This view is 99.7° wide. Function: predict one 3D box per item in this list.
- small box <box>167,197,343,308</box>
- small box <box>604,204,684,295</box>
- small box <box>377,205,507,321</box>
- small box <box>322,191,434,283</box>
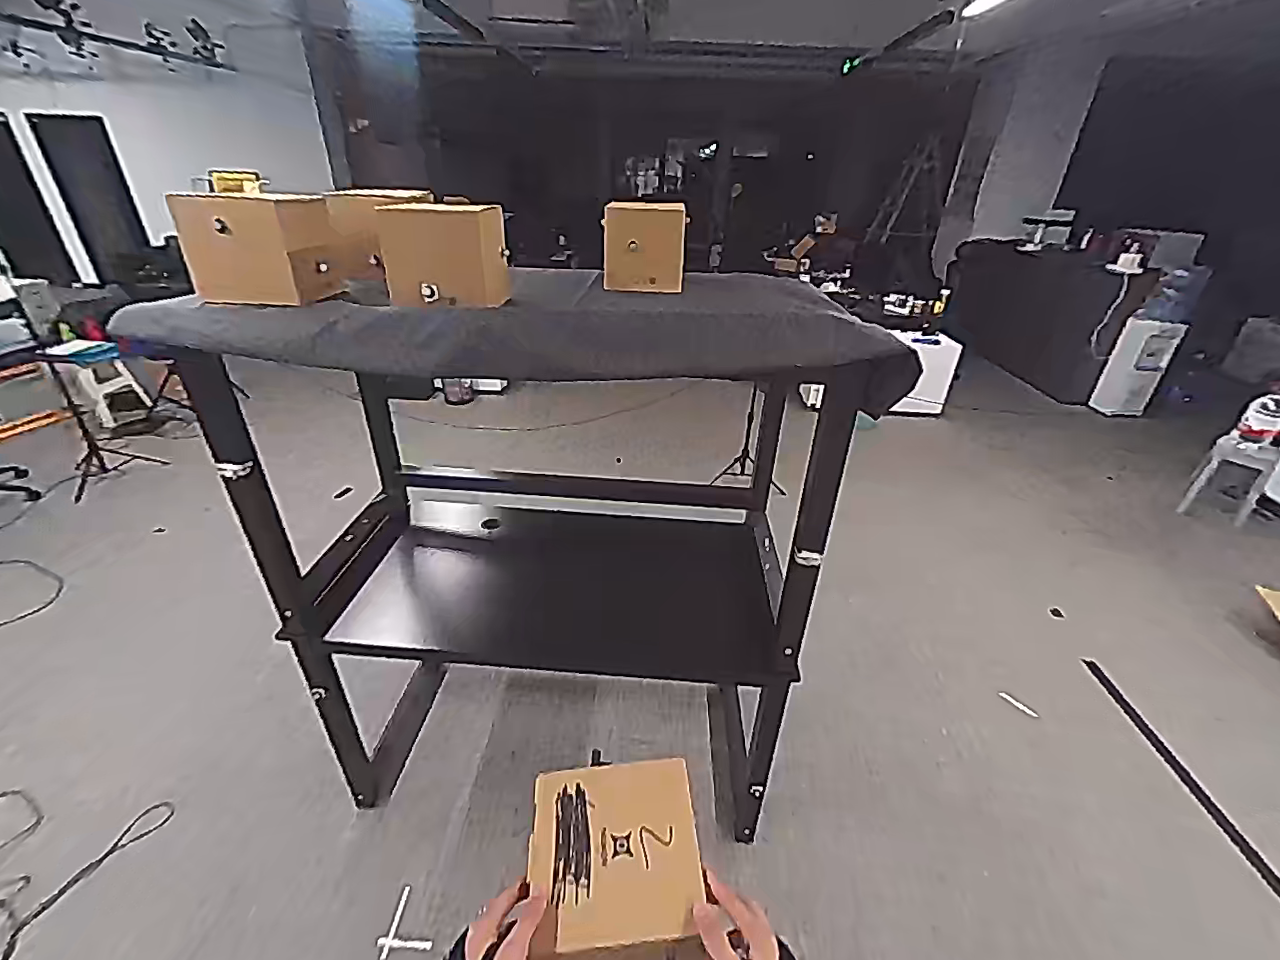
[{"bbox_3d":[-0.666,-0.406,0.961,0.179,0.176,0.168,2,29,-2],"label":"small box"},{"bbox_3d":[0.012,-0.512,1.201,0.168,0.176,0.179,3,30,1],"label":"small box"},{"bbox_3d":[-0.335,-0.385,0.953,0.168,0.176,0.179,1,28,-1],"label":"small box"},{"bbox_3d":[-0.564,-0.541,1.209,0.179,0.176,0.168,3,30,0],"label":"small box"}]
